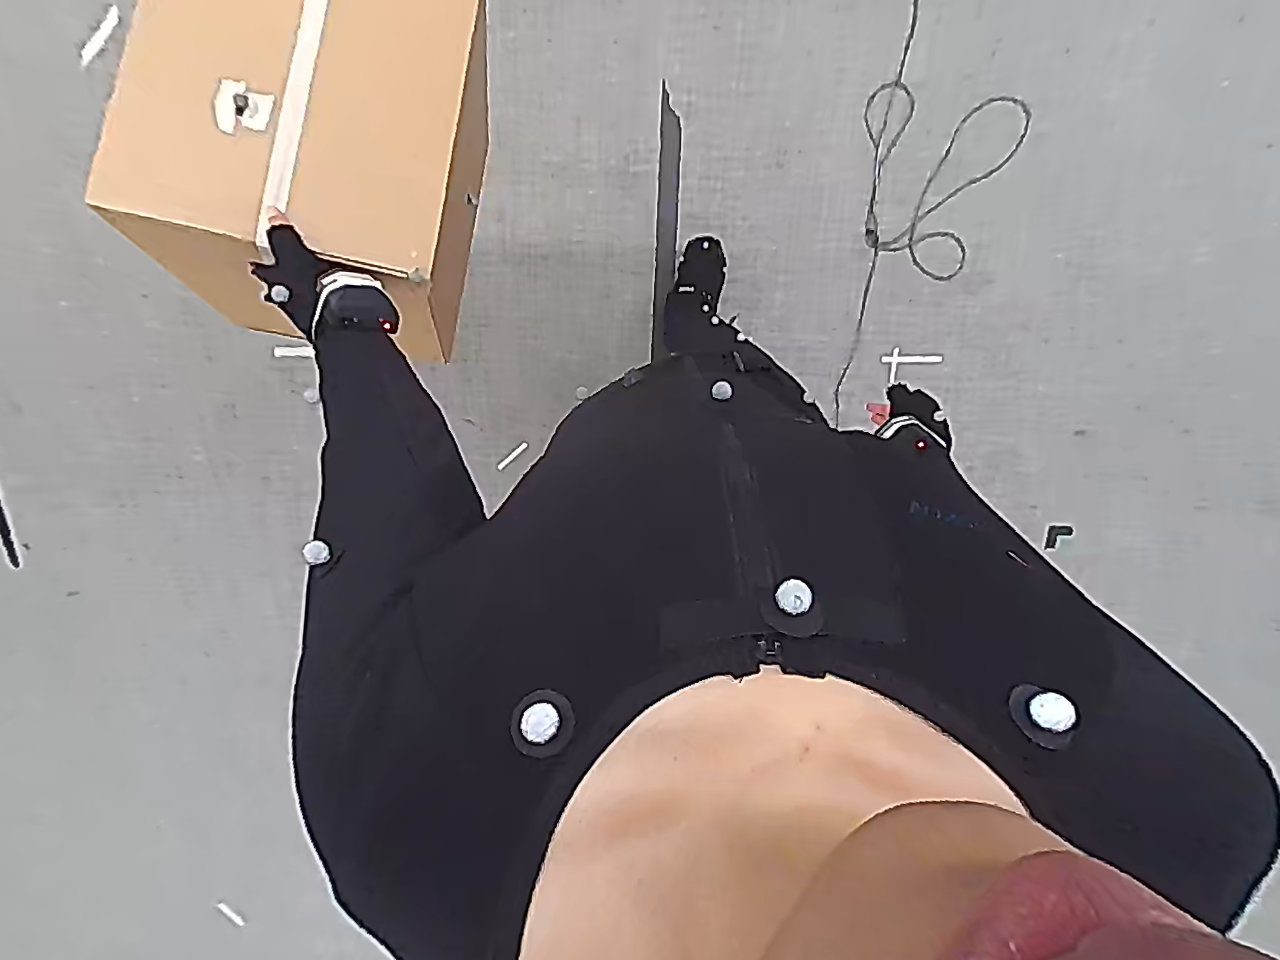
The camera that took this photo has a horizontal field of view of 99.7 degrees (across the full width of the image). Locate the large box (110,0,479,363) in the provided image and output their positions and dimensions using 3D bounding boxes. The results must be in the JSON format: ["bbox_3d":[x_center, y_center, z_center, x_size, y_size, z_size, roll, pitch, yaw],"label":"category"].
[{"bbox_3d":[-0.403,-0.420,0.740,0.320,0.320,0.408,8,82,-13],"label":"large box"}]
